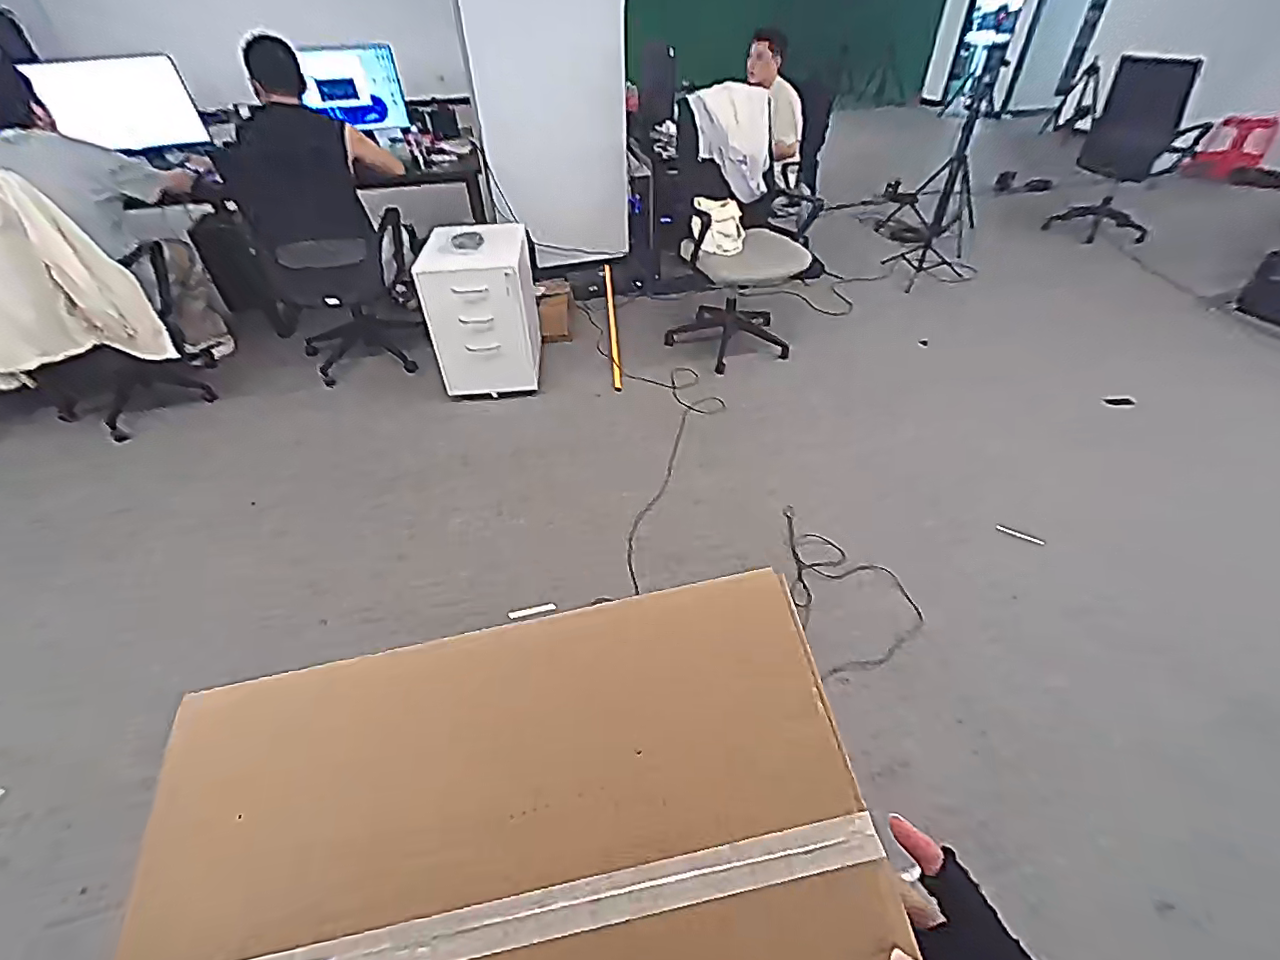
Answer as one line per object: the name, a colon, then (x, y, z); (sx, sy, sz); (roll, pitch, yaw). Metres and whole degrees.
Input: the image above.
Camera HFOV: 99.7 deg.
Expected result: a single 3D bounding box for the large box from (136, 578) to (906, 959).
large box: (-0.058, 0.312, 0.412); (0.408, 0.320, 0.320); (-12, 57, -1)
